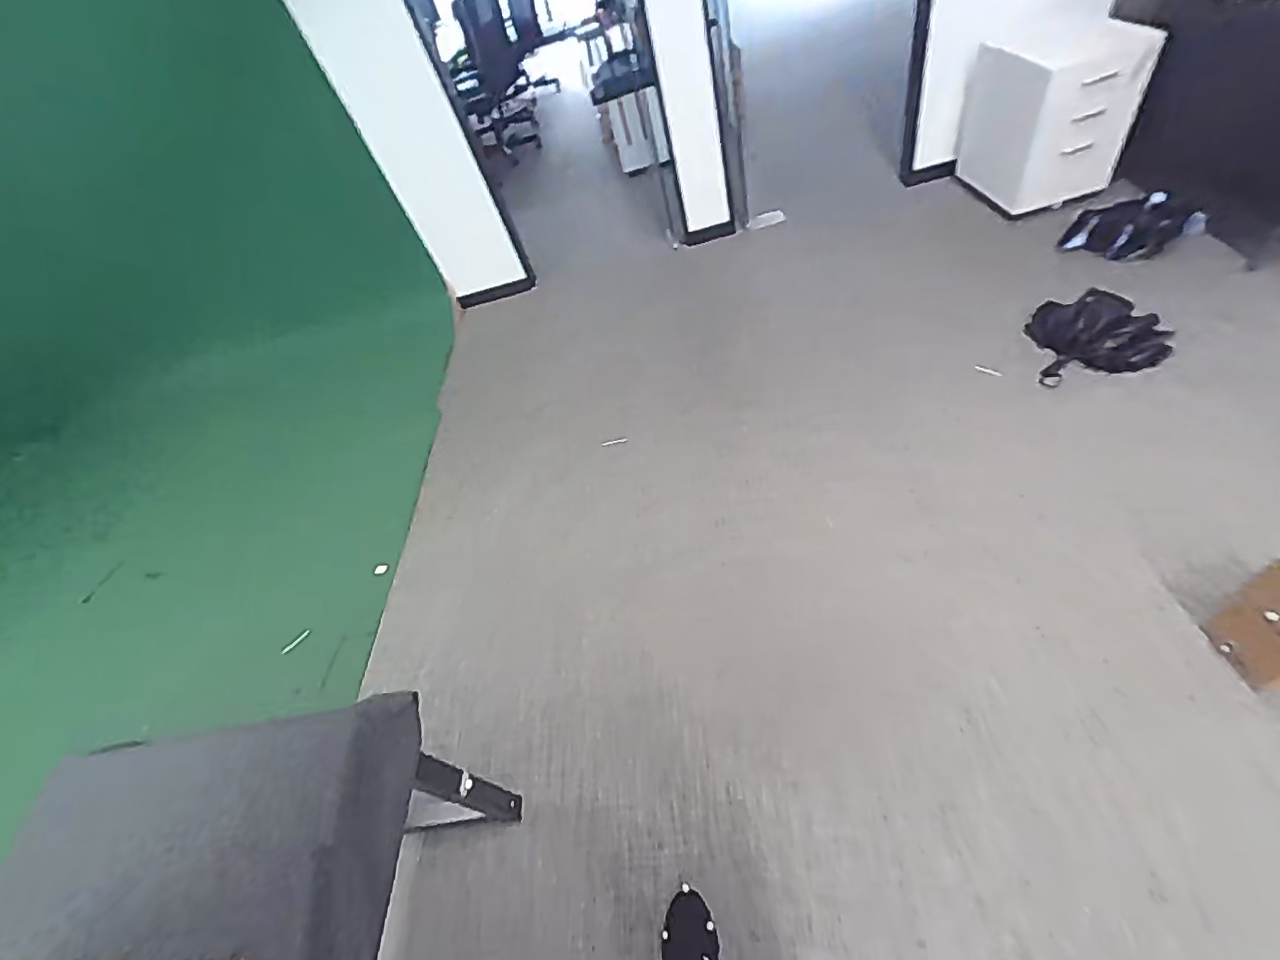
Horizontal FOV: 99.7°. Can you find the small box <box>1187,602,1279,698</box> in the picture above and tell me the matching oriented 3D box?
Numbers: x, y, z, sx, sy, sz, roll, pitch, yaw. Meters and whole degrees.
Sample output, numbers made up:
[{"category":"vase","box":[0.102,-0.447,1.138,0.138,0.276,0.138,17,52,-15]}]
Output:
[{"category":"small box","box":[1.406,0.366,1.208,0.179,0.176,0.168,-15,47,7]}]

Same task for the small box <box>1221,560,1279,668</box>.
[{"category":"small box","box":[1.362,0.262,1.088,0.179,0.176,0.168,-14,47,6]}]
